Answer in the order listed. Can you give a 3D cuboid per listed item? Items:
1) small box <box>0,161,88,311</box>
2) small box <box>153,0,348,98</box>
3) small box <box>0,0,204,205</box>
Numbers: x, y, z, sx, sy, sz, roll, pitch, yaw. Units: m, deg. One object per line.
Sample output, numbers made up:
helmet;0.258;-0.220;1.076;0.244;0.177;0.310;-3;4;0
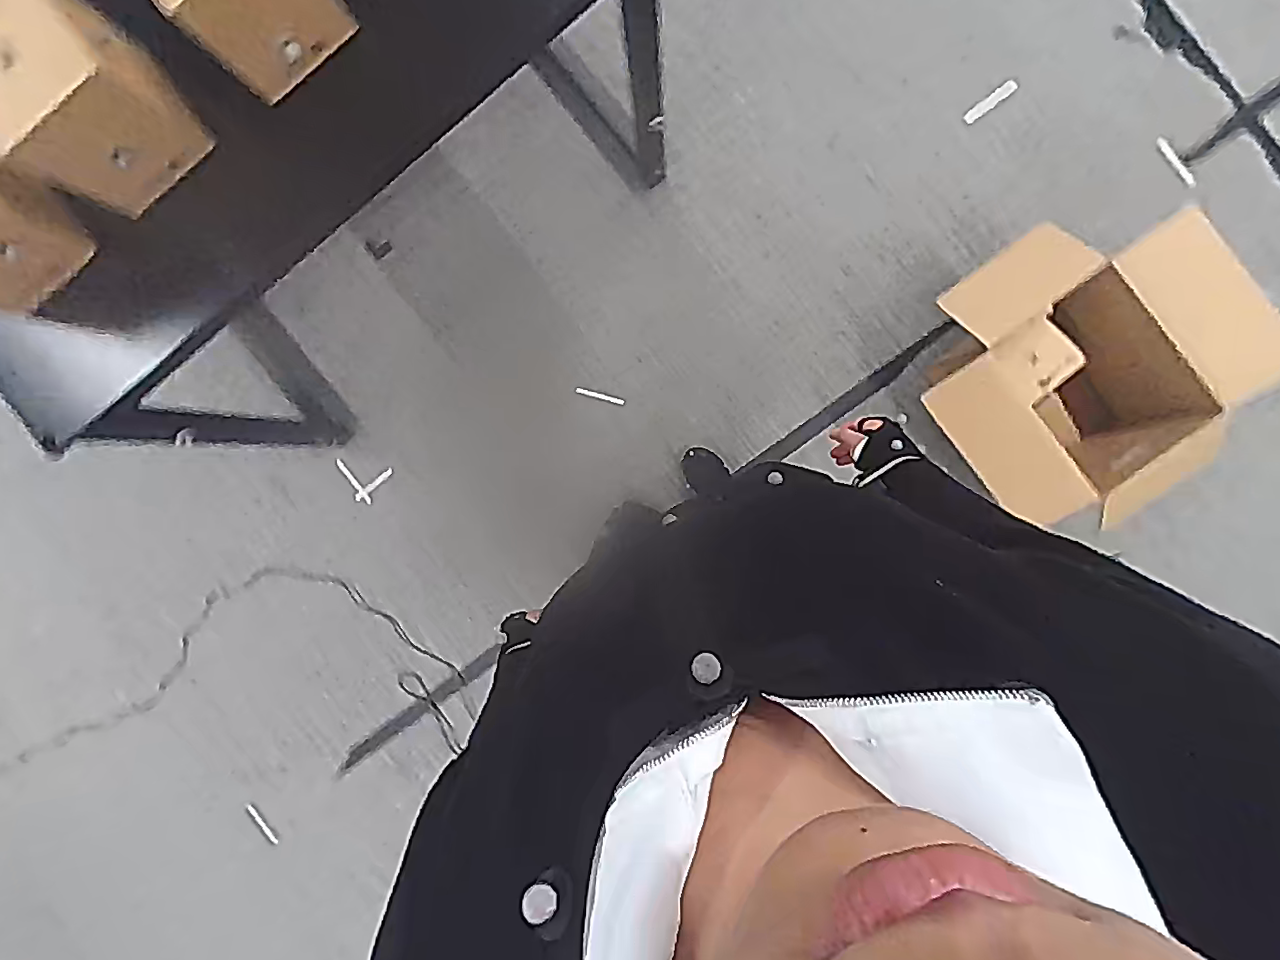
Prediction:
small box;-0.931;-0.352;0.733;0.168;0.176;0.179;-39;89;3
small box;-0.528;-0.653;0.693;0.168;0.176;0.179;-38;91;5
small box;-0.742;-0.498;0.712;0.168;0.176;0.179;-38;90;4
